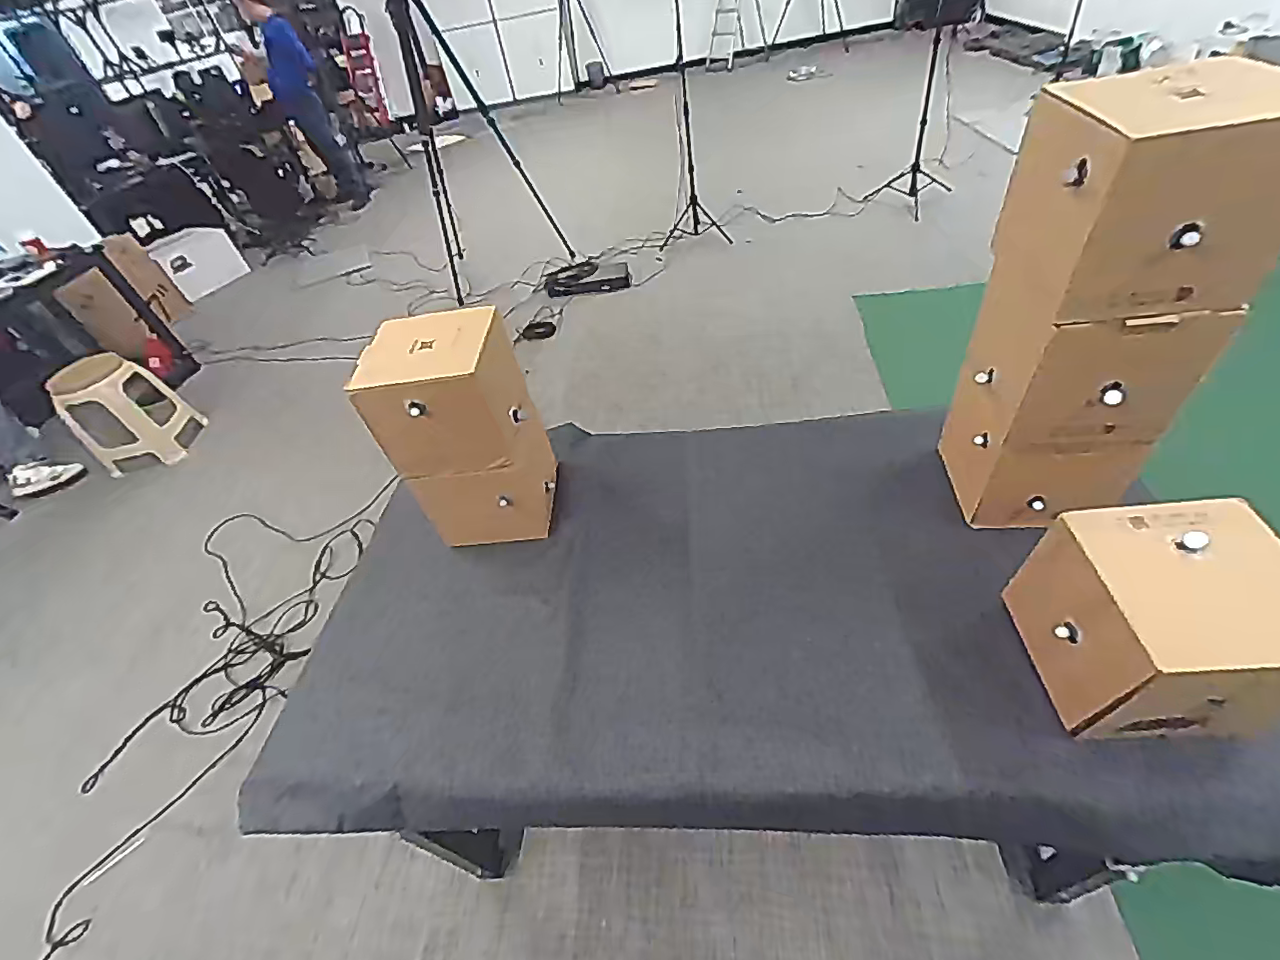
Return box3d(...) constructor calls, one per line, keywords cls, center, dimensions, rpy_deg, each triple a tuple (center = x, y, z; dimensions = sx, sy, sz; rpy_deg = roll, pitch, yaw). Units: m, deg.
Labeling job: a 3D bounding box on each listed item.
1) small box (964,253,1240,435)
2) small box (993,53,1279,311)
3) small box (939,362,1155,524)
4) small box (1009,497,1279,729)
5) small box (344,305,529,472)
box3d(cls="small box", center=(0.514, -0.165, 0.639), dimensions=(0.168, 0.176, 0.179), rpy_deg=(-2, 47, 11))
box3d(cls="small box", center=(0.480, -0.277, 0.523), dimensions=(0.168, 0.176, 0.179), rpy_deg=(-3, 46, 10))
box3d(cls="small box", center=(0.543, -0.057, 0.759), dimensions=(0.168, 0.176, 0.179), rpy_deg=(-2, 47, 11))
box3d(cls="small box", center=(0.515, 0.138, 0.548), dimensions=(0.168, 0.179, 0.176), rpy_deg=(-6, 48, 6))
box3d(cls="small box", center=(-0.275, -0.126, 0.777), dimensions=(0.179, 0.176, 0.168), rpy_deg=(-6, 47, 5))
